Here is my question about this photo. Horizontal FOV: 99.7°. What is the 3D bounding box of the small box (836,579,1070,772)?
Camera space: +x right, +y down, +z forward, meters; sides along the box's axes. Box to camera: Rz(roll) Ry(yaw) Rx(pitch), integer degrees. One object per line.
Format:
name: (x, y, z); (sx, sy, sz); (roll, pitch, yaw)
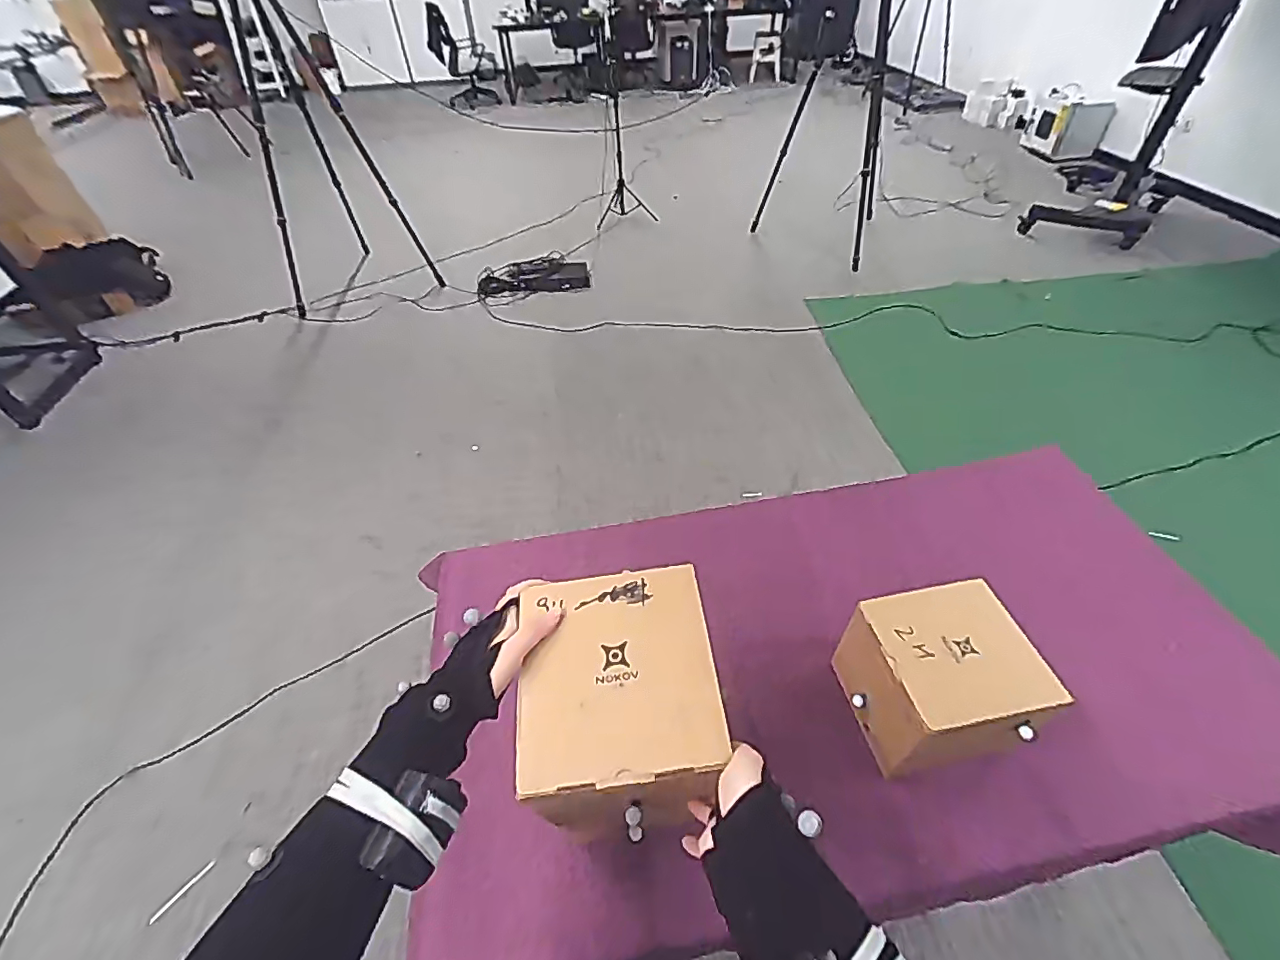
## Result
small box: (0.382, 0.254, 0.700); (0.179, 0.176, 0.168); (-9, 46, -5)

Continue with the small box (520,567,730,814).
small box: (-0.013, 0.209, 0.521); (0.168, 0.176, 0.179); (-8, 52, -1)

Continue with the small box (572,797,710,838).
small box: (-0.011, 0.314, 0.669); (0.168, 0.176, 0.179); (-8, 47, -4)
